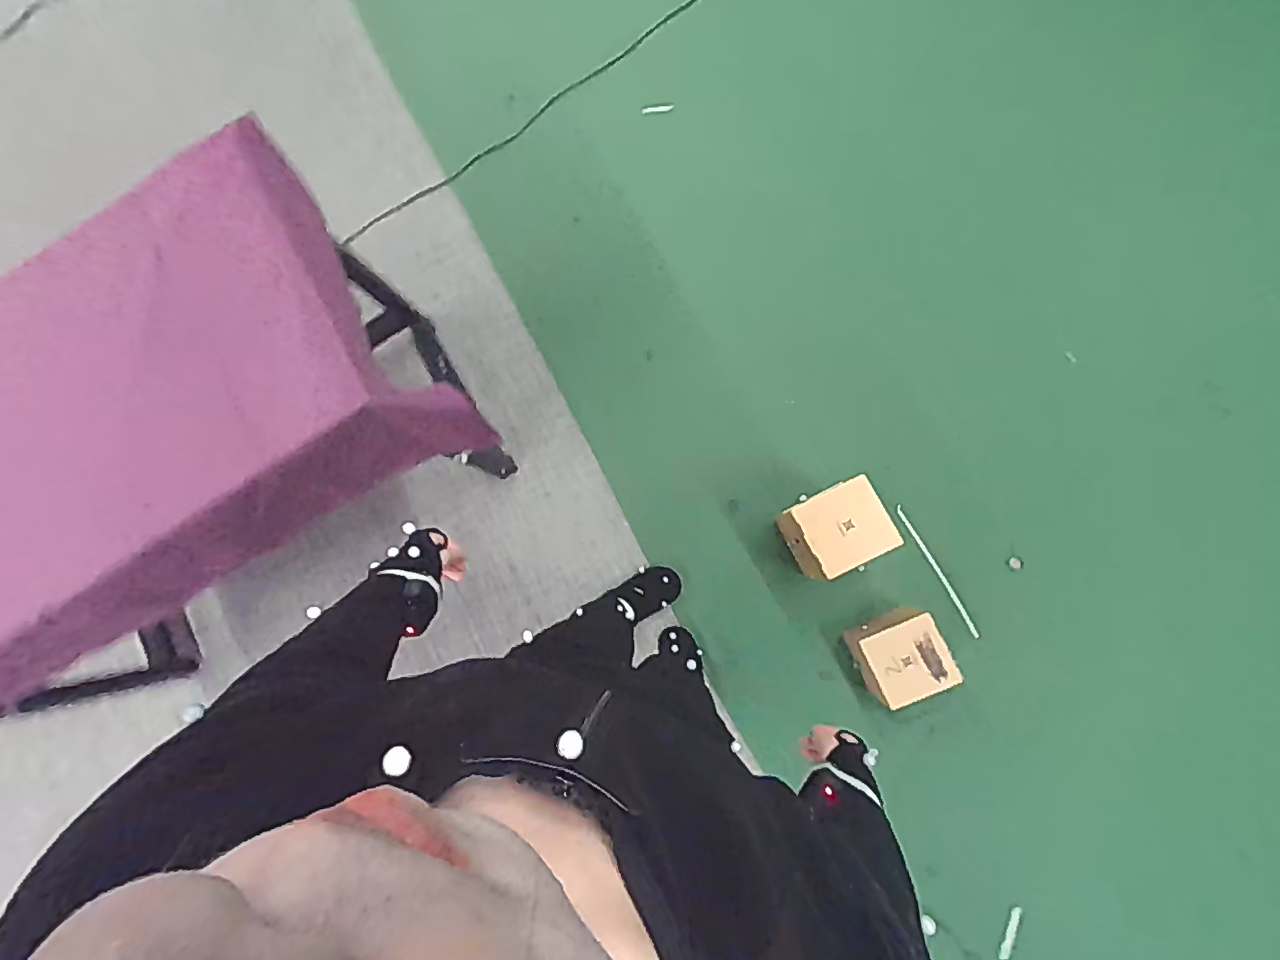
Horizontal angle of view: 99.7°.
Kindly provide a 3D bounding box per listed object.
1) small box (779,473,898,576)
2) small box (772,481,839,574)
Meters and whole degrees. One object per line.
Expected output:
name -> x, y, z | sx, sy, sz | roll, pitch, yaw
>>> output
small box -> 0.431, 0.102, 1.206 | 0.179, 0.176, 0.168 | -26, 80, 3
small box -> 0.452, 0.122, 1.366 | 0.168, 0.176, 0.179 | -26, 79, 2
